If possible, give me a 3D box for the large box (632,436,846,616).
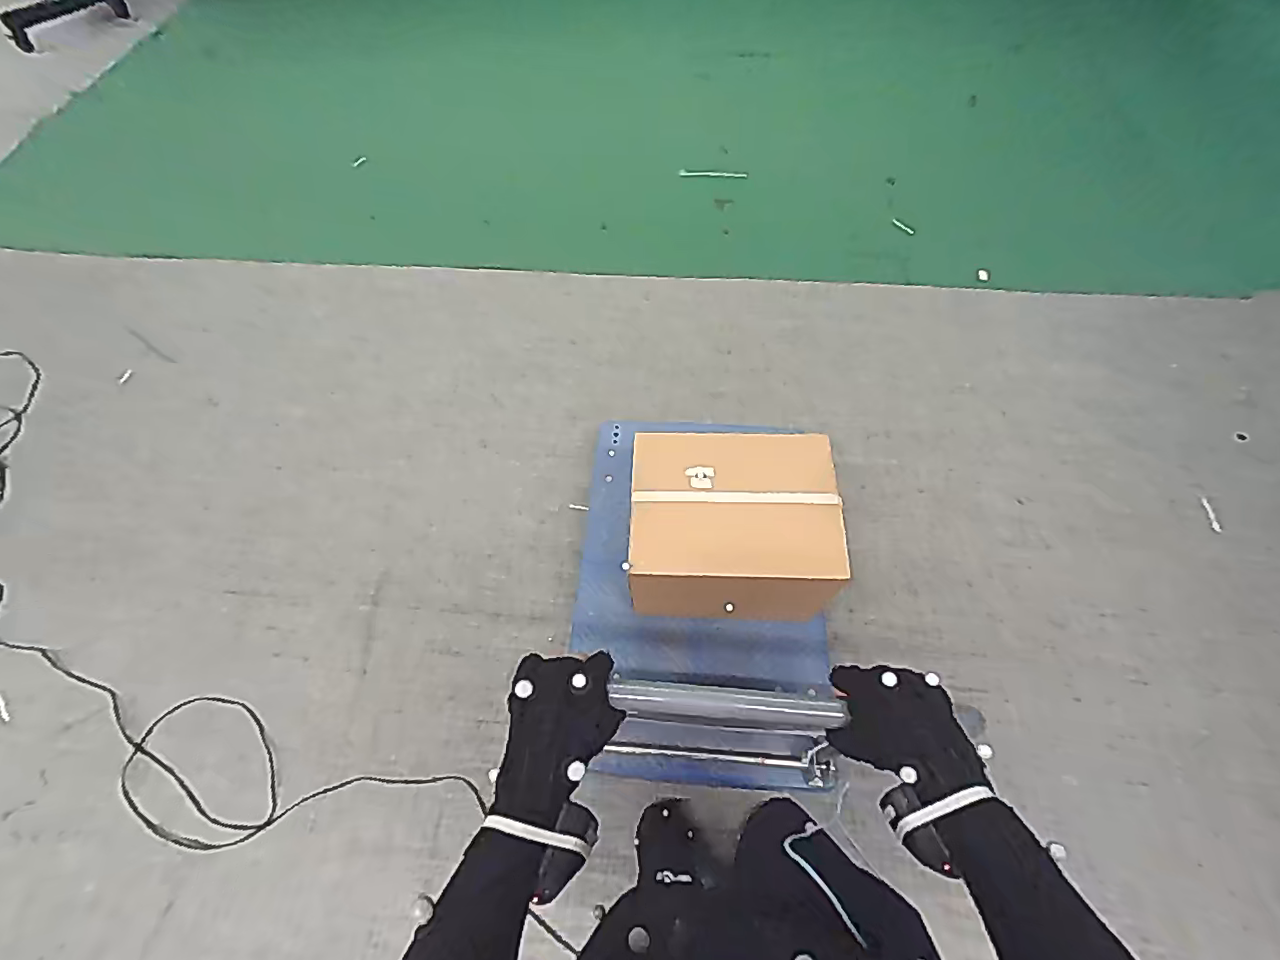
[{"bbox_3d":[0.194,0.116,1.203,0.408,0.320,0.320,-1,61,3],"label":"large box"}]
